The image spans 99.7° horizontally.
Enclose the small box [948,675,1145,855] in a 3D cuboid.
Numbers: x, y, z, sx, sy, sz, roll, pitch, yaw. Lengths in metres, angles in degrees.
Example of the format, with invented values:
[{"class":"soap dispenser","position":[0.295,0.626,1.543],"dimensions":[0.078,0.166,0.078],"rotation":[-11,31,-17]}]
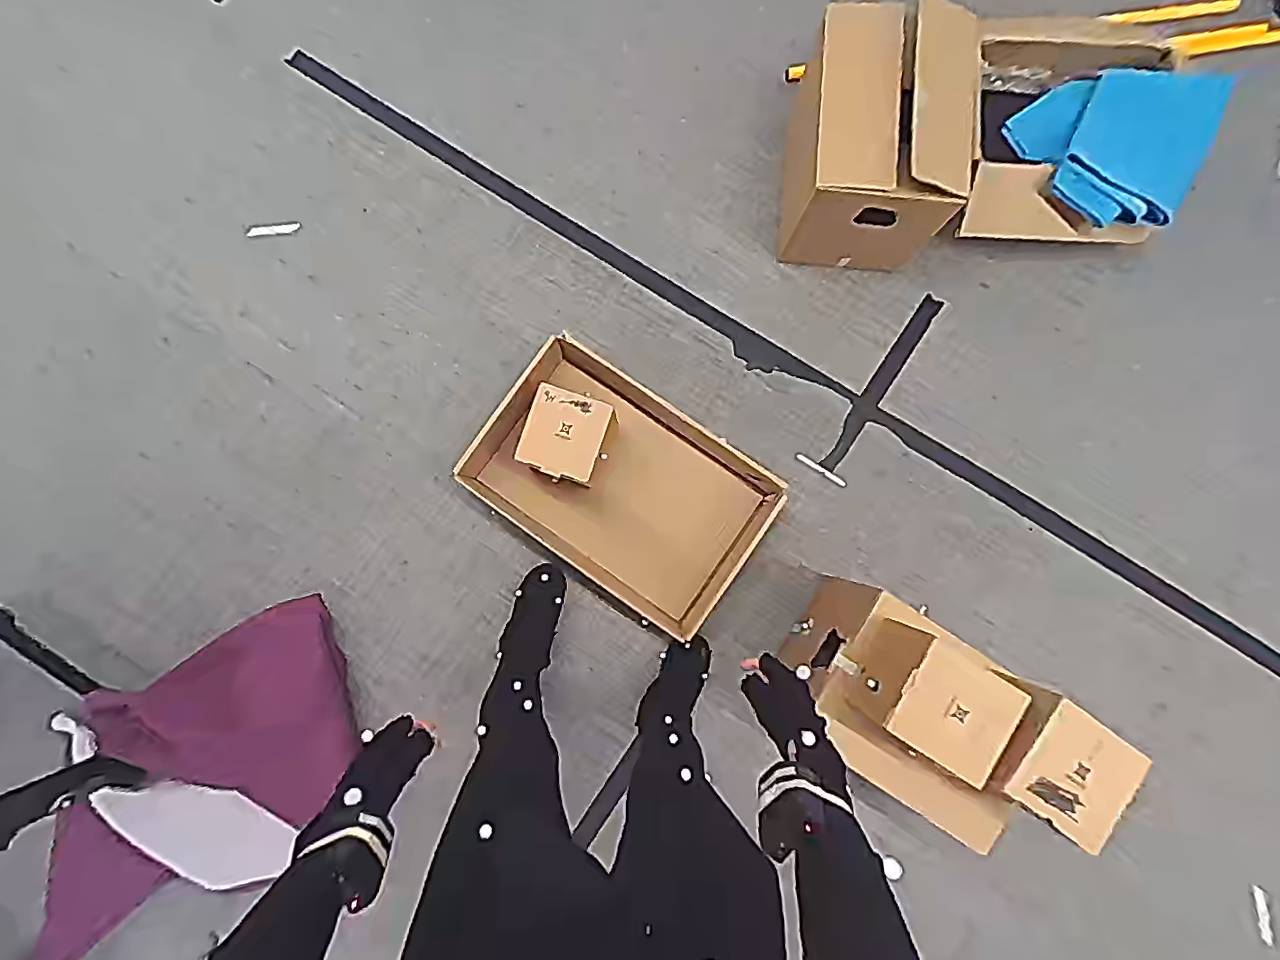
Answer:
[{"class":"small box","position":[0.660,0.460,0.906],"dimensions":[0.168,0.176,0.179],"rotation":[37,84,3]}]

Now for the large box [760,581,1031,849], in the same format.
[{"class":"large box","position":[0.530,0.456,1.150],"dimensions":[0.408,0.320,0.320],"rotation":[33,86,2]}]
